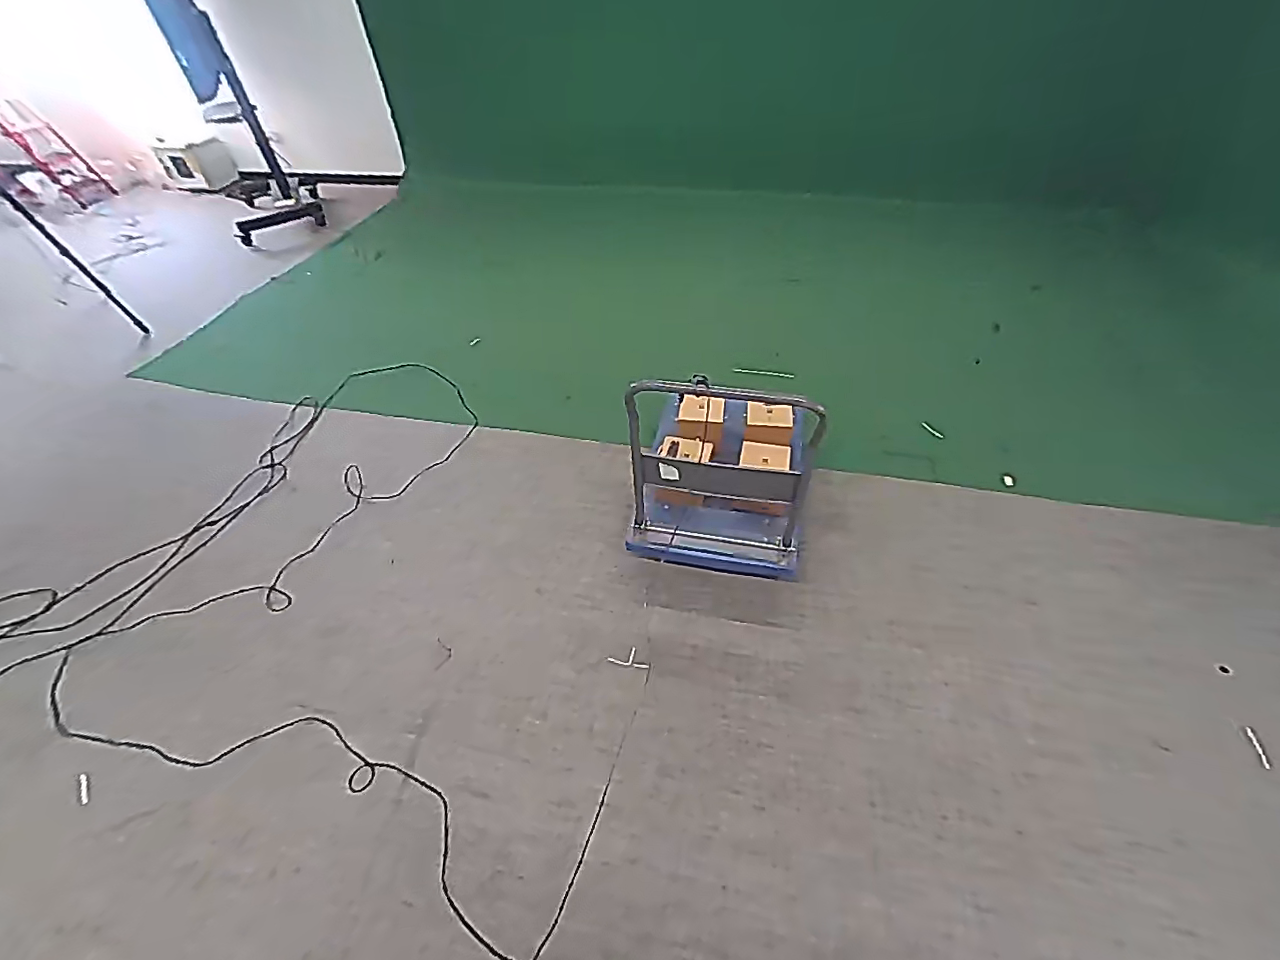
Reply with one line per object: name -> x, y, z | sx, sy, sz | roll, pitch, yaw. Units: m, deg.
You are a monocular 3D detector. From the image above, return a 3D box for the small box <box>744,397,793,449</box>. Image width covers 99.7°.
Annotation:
small box -> 0.486, -0.194, 2.057 | 0.168, 0.176, 0.179 | 5, 48, 9

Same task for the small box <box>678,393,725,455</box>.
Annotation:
small box -> 0.238, -0.214, 2.092 | 0.168, 0.176, 0.179 | 5, 47, 8

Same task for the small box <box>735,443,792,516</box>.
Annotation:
small box -> 0.425, -0.001, 1.878 | 0.168, 0.176, 0.179 | 9, 48, 11
